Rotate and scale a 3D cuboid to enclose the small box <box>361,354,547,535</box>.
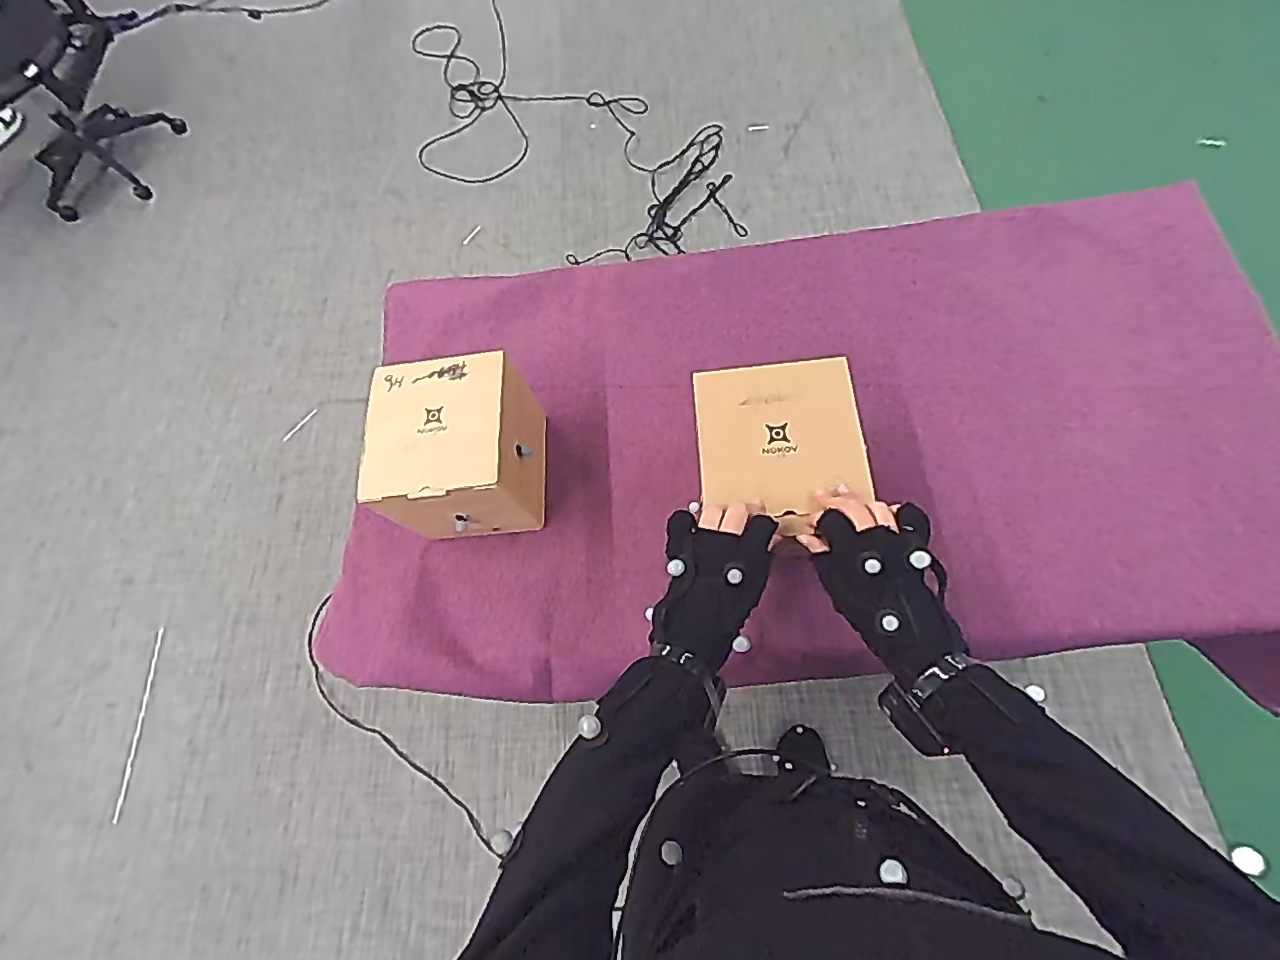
[{"bbox_3d":[-0.222,-0.033,0.692,0.168,0.176,0.179,-6,69,6],"label":"small box"}]

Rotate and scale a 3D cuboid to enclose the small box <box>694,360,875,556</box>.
[{"bbox_3d":[0.154,-0.013,0.626,0.168,0.176,0.179,-5,68,7],"label":"small box"}]
